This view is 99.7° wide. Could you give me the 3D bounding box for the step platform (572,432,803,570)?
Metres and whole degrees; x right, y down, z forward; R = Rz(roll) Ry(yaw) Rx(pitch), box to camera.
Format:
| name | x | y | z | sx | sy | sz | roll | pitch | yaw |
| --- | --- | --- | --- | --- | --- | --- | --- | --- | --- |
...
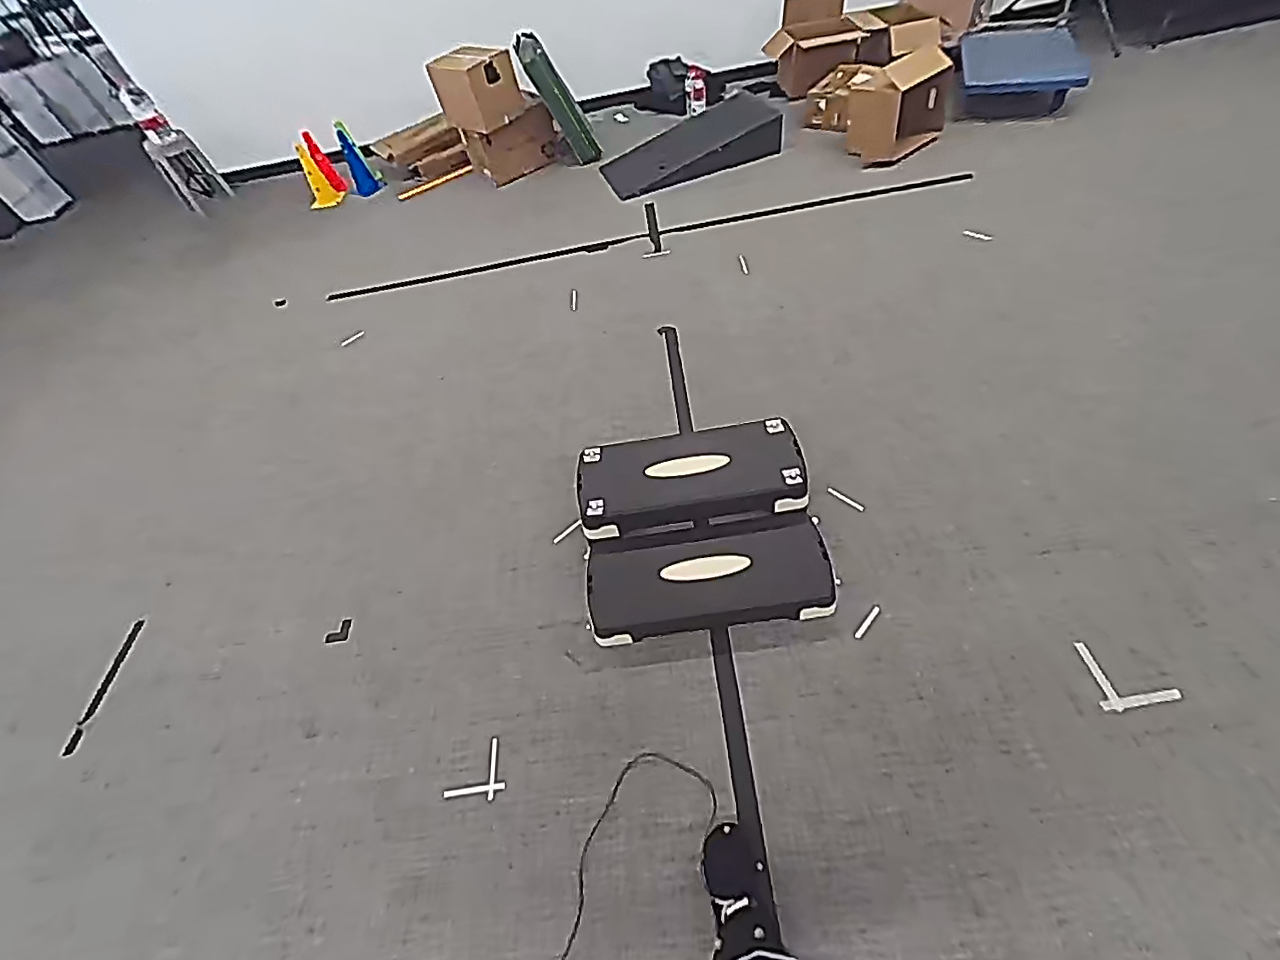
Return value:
| name | x | y | z | sx | sy | sz | roll | pitch | yaw |
| --- | --- | --- | --- | --- | --- | --- | --- | --- | --- |
| step platform | 0.137 | 0.060 | 1.644 | 0.684 | 0.204 | 0.286 | -9 | 52 | 2 |
